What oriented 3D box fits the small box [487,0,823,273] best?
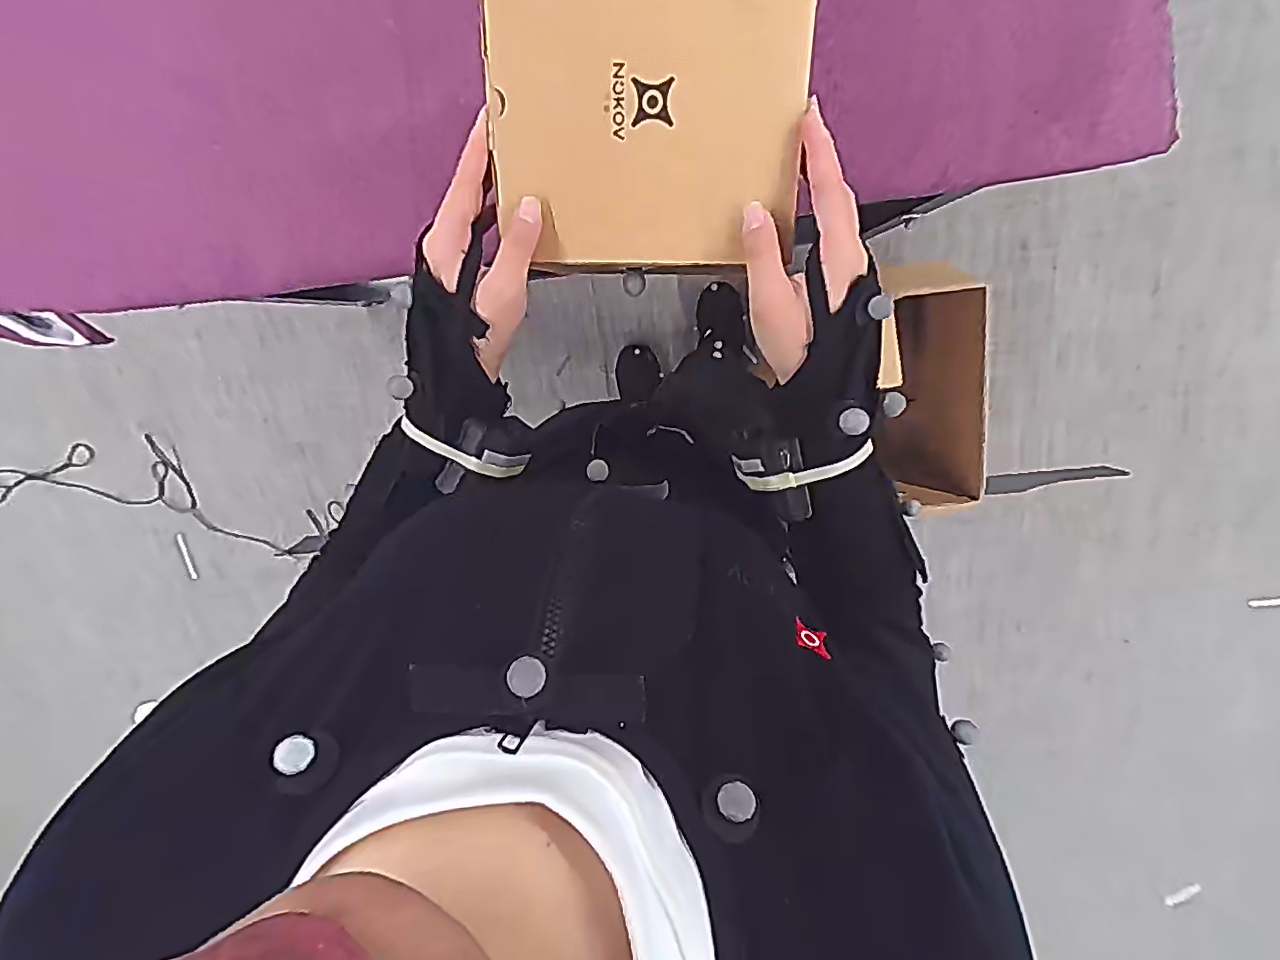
[{"bbox_3d":[0.012,-0.232,0.367,0.179,0.176,0.168,2,110,5],"label":"small box"}]
